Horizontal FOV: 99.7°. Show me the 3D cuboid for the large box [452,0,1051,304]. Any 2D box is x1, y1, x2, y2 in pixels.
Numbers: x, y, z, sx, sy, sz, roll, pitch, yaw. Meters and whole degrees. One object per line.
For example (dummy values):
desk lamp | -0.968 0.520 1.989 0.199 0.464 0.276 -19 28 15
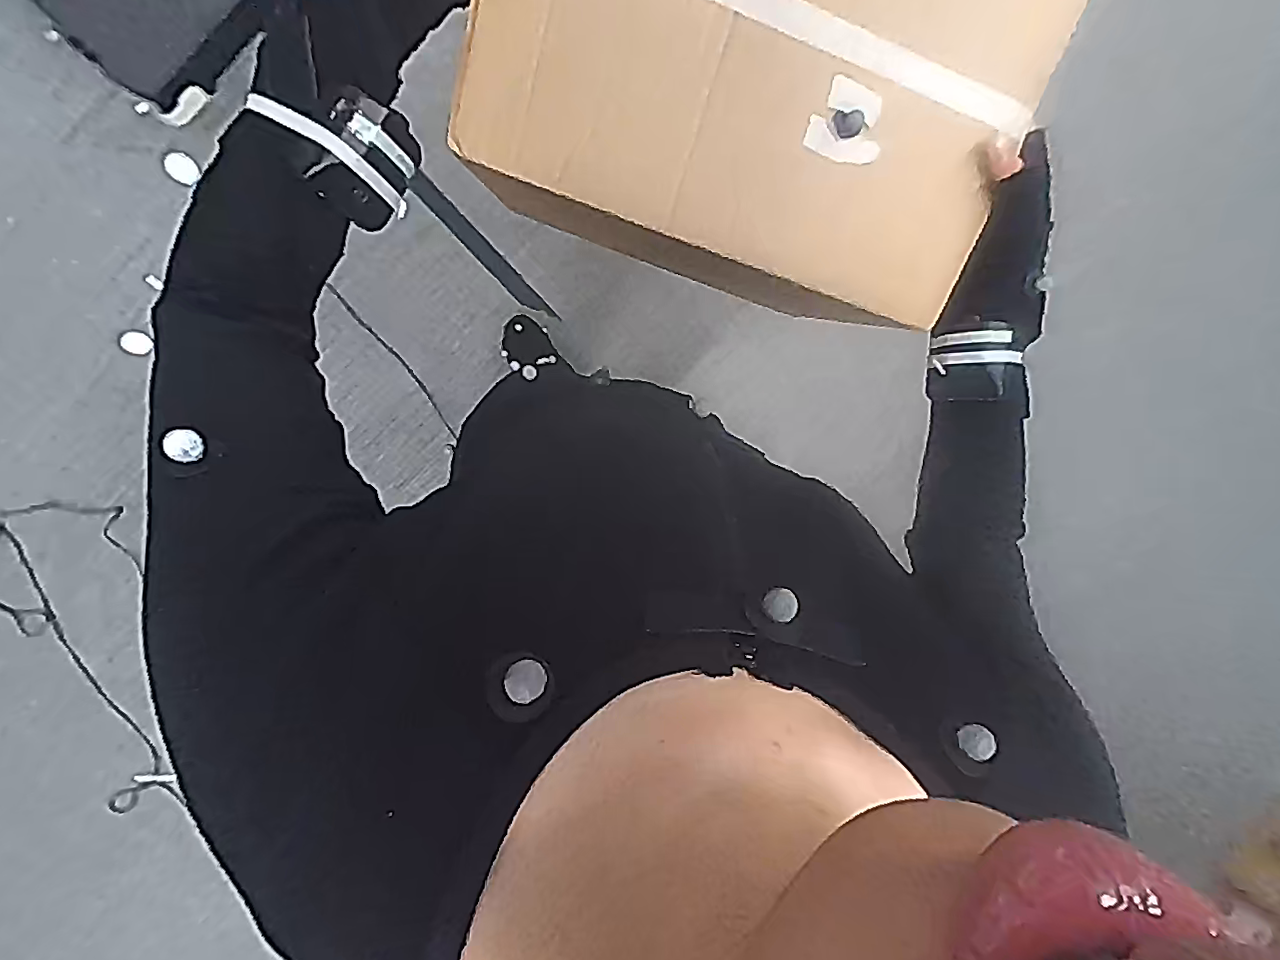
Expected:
large box | 0.075 -0.382 0.524 0.408 0.320 0.320 15 108 -11
